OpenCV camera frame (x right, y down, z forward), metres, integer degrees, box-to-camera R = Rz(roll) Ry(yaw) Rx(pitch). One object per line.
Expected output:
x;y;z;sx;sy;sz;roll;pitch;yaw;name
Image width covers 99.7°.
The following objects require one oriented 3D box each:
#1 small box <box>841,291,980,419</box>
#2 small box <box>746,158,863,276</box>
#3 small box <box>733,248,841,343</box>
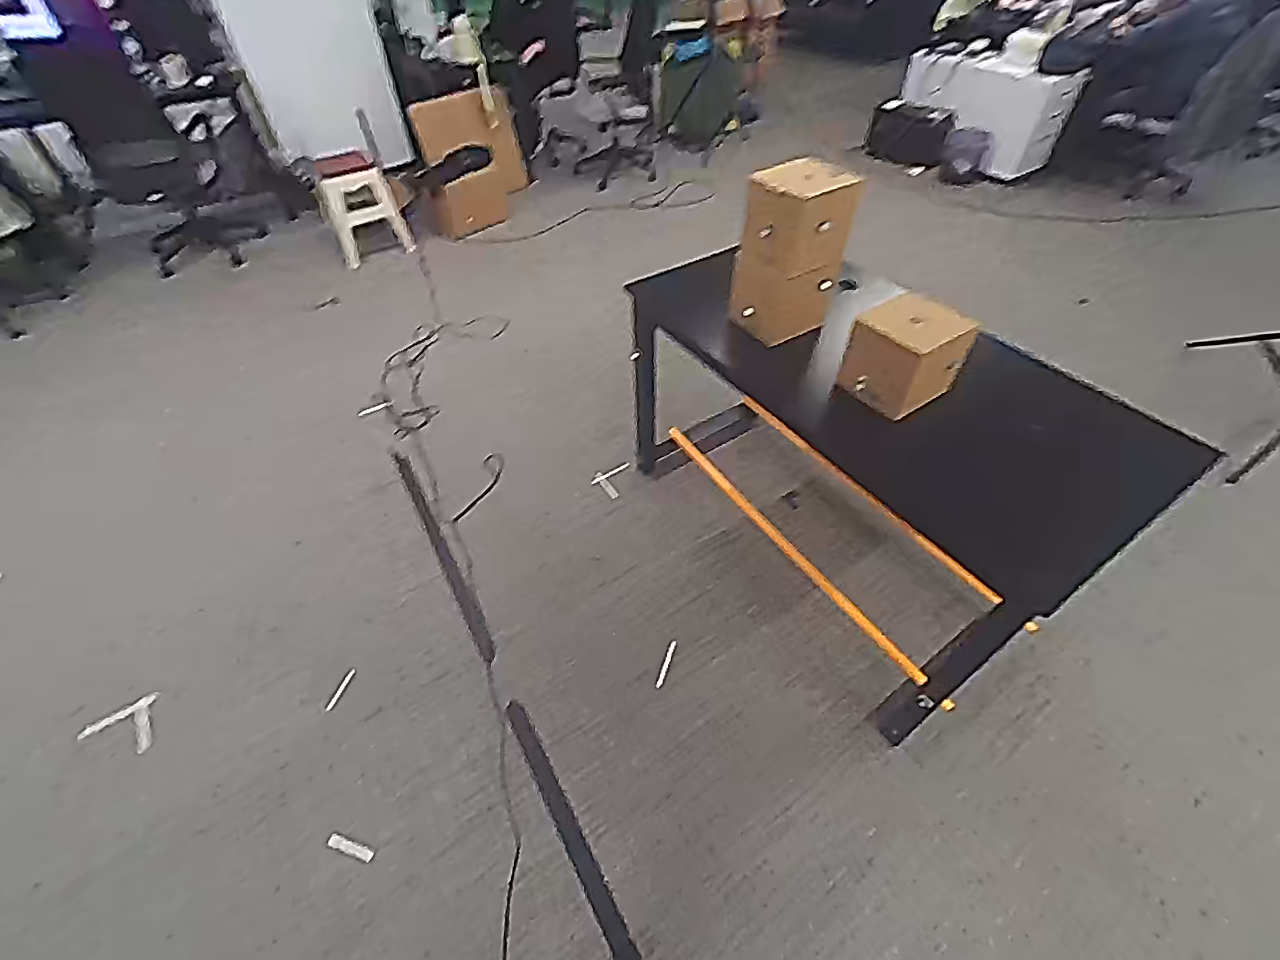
0.548;-0.258;1.122;0.179;0.176;0.168;-28;52;-21;small box
0.348;-0.573;1.182;0.179;0.176;0.168;-28;54;-21;small box
0.343;-0.459;1.300;0.179;0.176;0.168;-26;53;-20;small box
